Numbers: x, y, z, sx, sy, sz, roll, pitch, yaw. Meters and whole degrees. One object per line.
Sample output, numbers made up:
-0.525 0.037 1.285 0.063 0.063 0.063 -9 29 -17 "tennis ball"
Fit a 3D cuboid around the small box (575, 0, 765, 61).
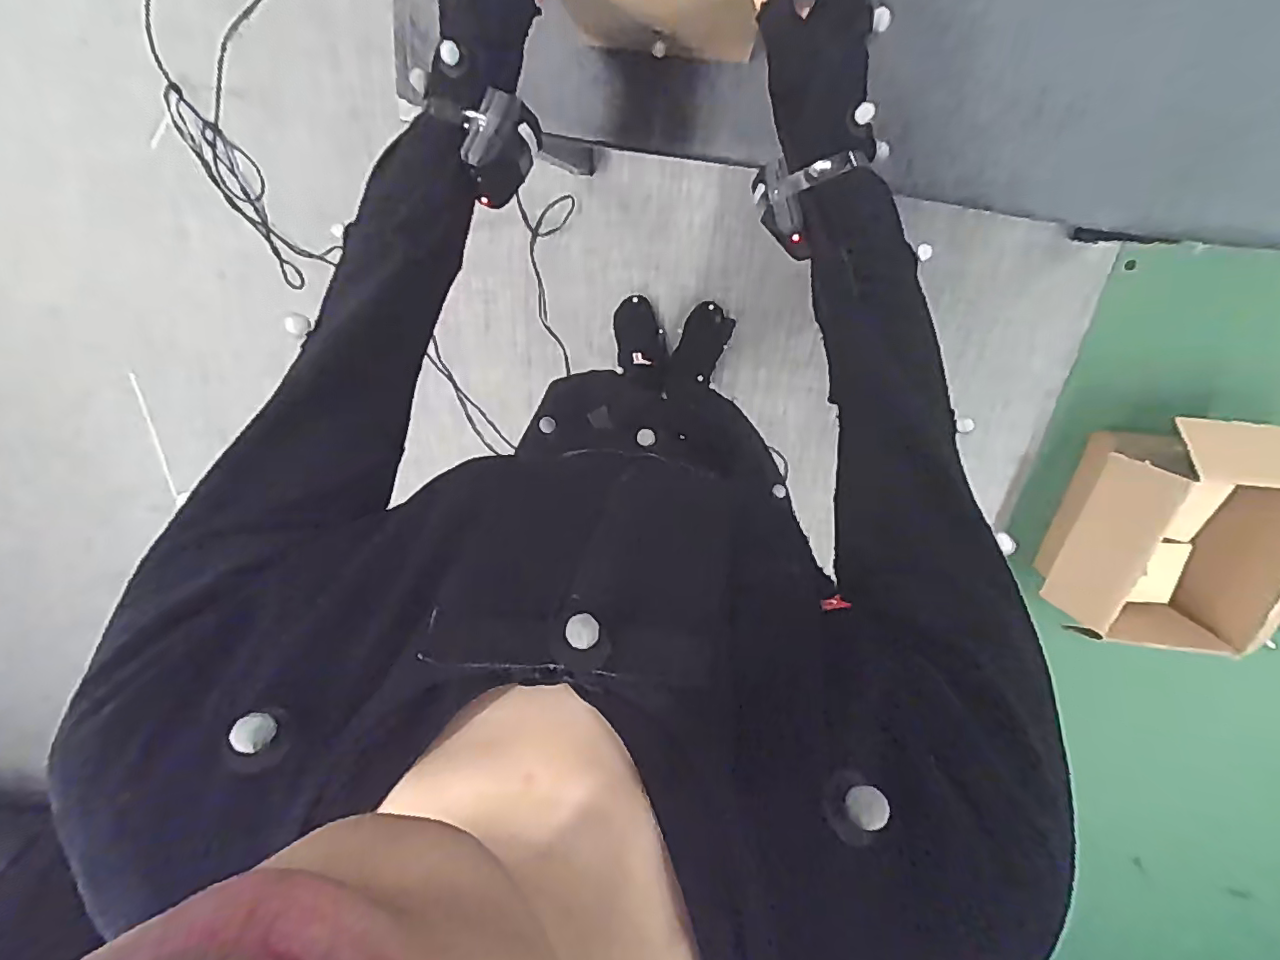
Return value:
0.029 -0.470 0.426 0.168 0.176 0.179 9 115 2 "small box"
